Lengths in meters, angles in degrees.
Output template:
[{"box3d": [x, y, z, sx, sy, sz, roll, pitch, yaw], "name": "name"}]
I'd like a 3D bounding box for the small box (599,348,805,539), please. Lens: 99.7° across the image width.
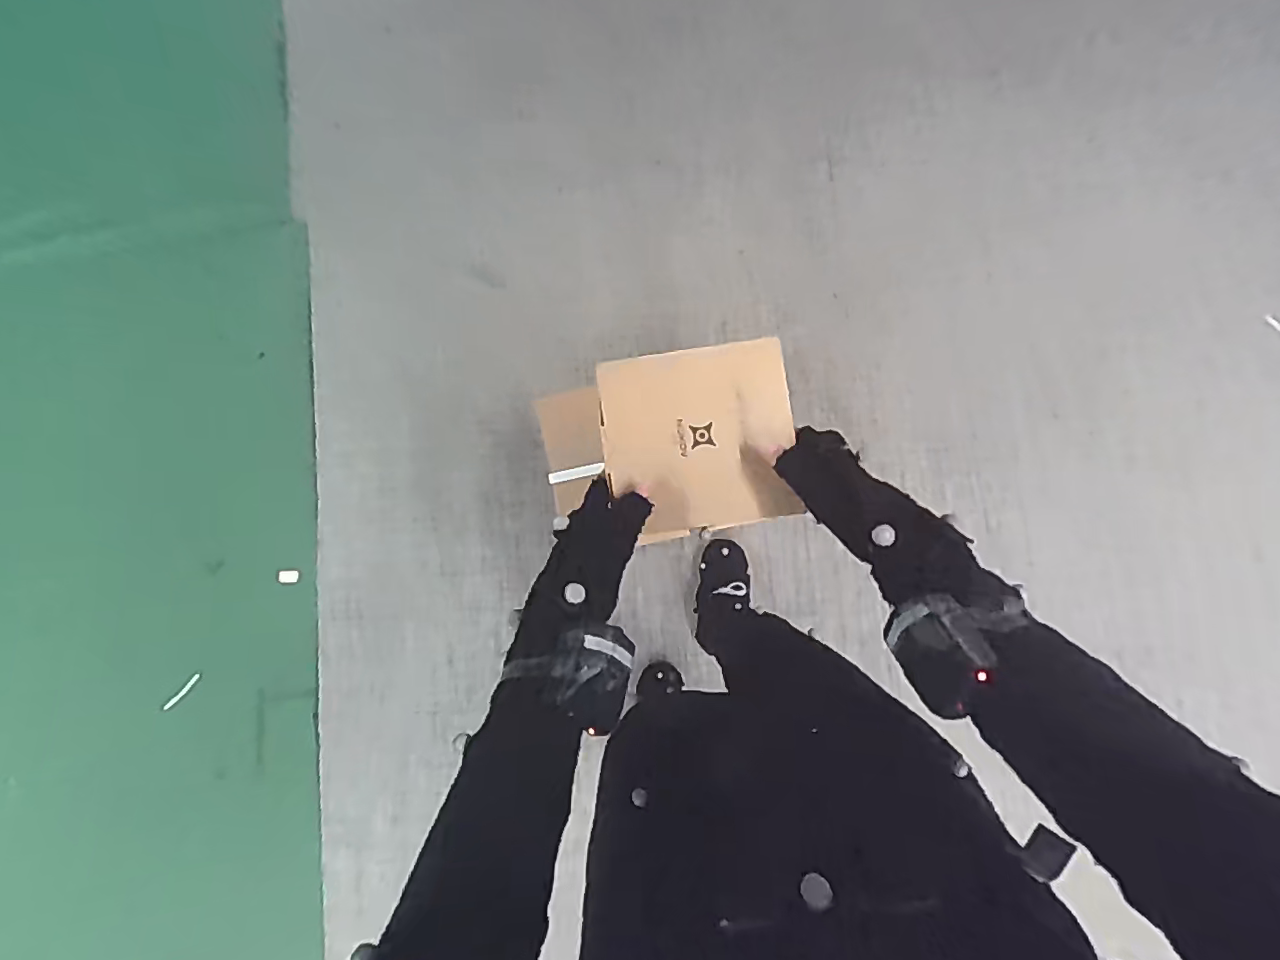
[{"box3d": [0.061, -0.027, 0.588, 0.179, 0.176, 0.168, -9, 85, 2], "name": "small box"}]
